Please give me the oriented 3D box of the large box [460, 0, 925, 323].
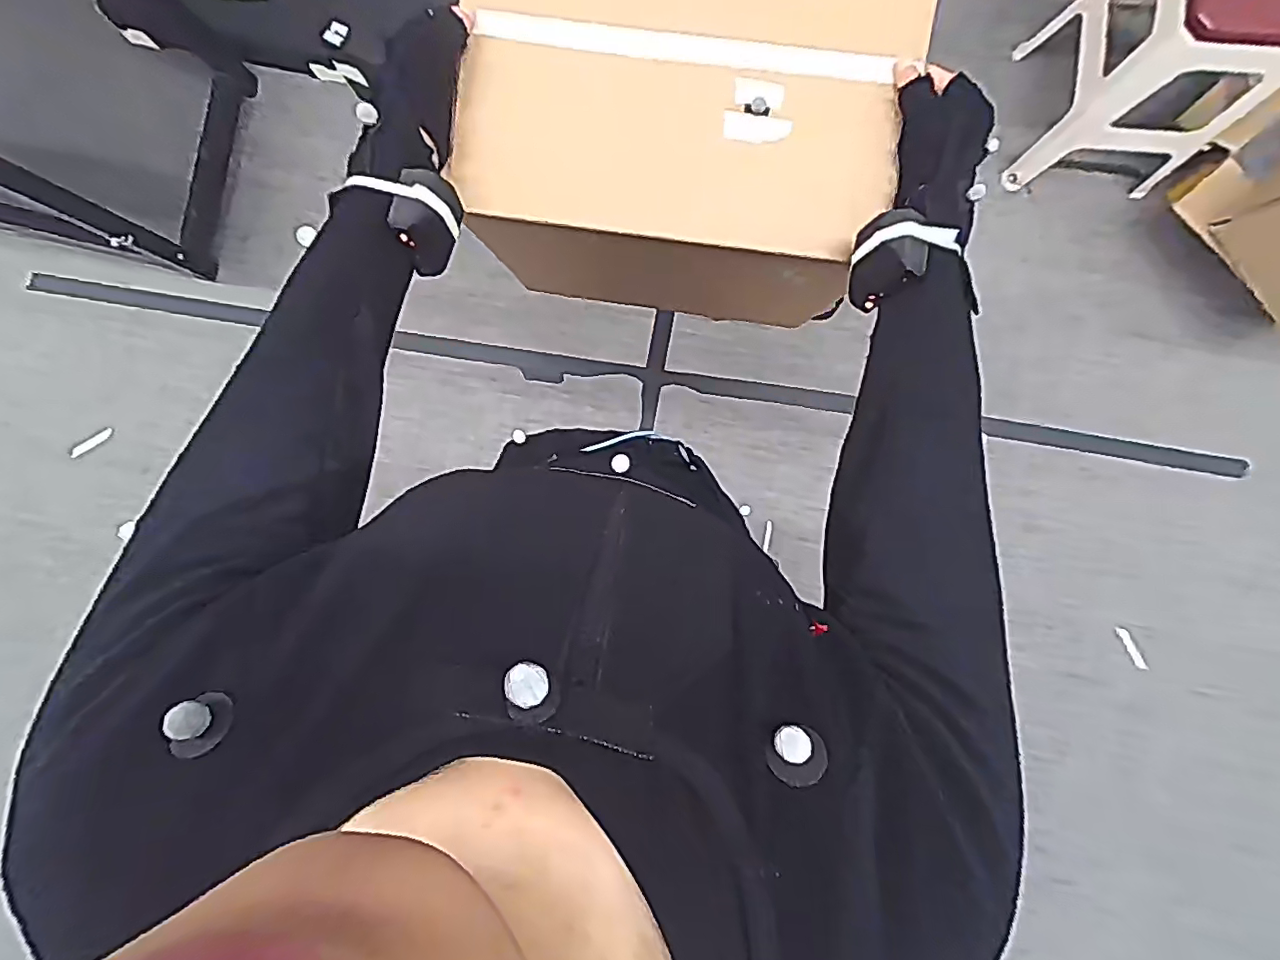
[{"bbox_3d":[0.047,-0.388,0.632,0.408,0.320,0.320,8,96,1],"label":"large box"}]
